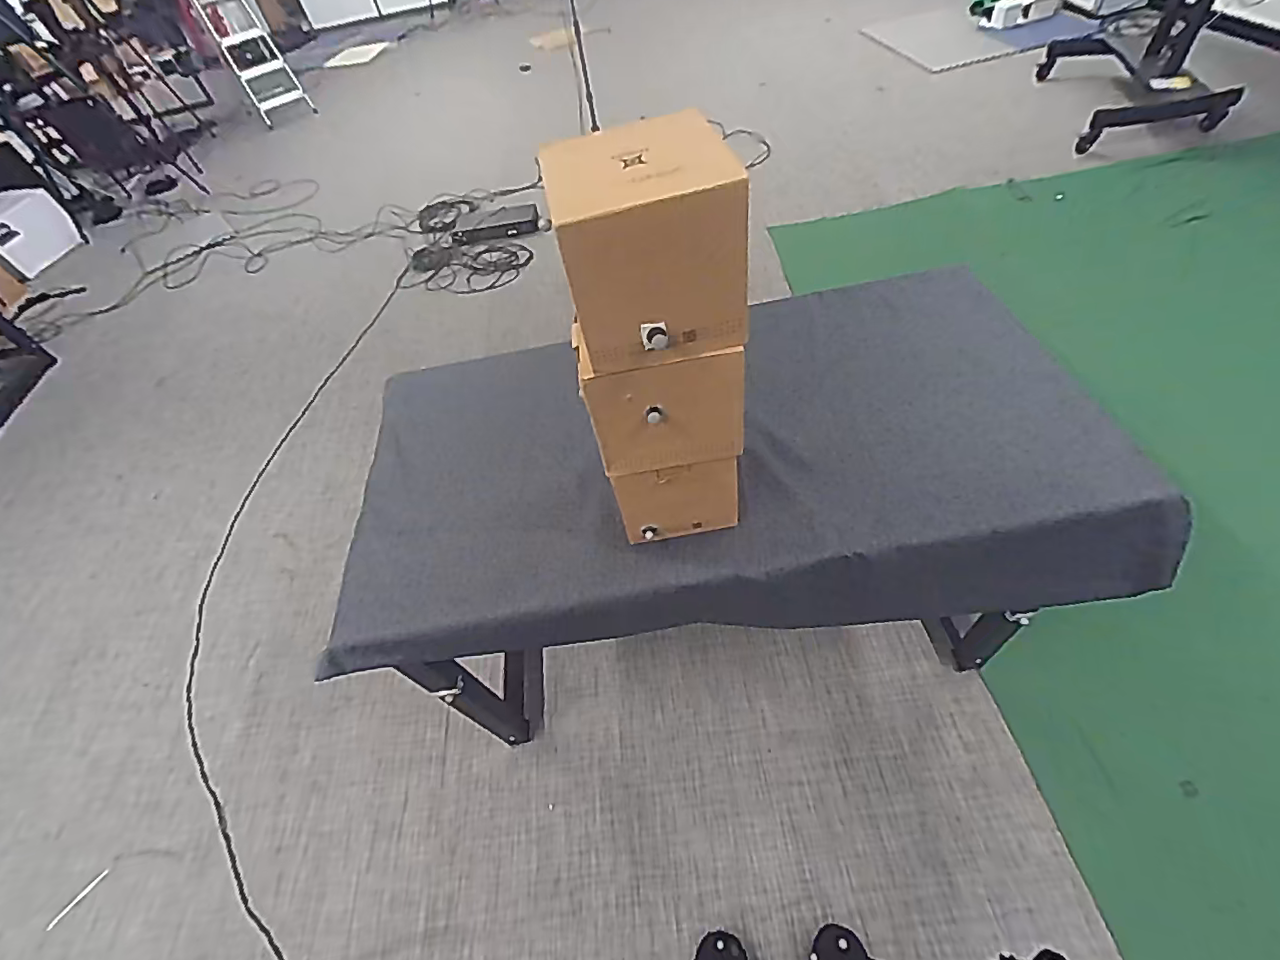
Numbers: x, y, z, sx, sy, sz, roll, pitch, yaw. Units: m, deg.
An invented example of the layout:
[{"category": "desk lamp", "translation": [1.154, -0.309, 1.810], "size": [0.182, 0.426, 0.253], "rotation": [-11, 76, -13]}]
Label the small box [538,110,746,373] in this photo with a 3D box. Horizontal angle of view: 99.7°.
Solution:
[{"category": "small box", "translation": [0.003, -0.240, 0.555], "size": [0.168, 0.176, 0.179], "rotation": [-15, 52, 0]}]

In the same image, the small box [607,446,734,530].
[{"category": "small box", "translation": [0.043, -0.041, 0.809], "size": [0.168, 0.176, 0.179], "rotation": [-11, 50, 2]}]

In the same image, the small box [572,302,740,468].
[{"category": "small box", "translation": [0.023, -0.135, 0.681], "size": [0.179, 0.176, 0.168], "rotation": [-11, 49, 0]}]
